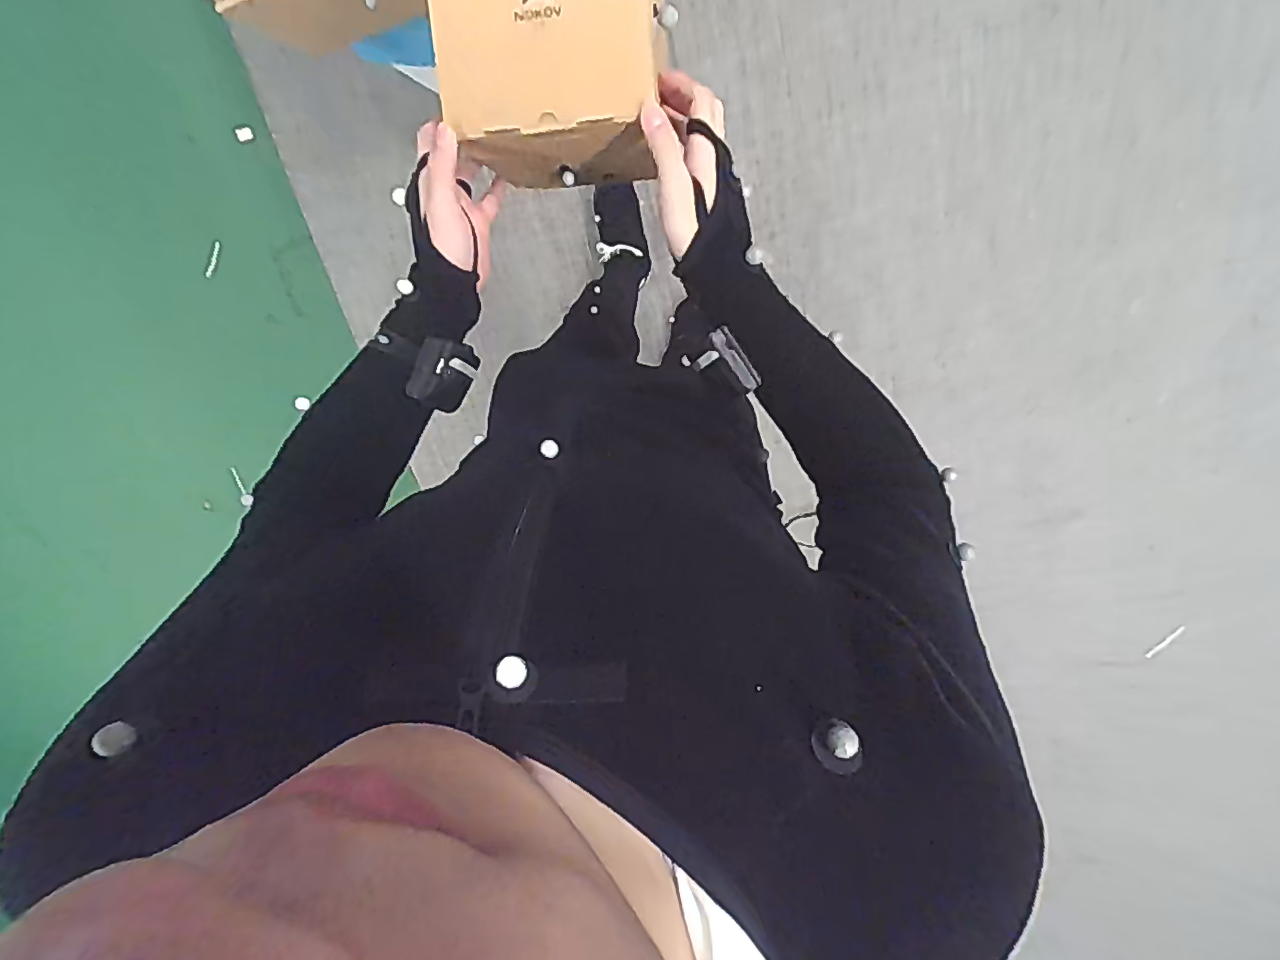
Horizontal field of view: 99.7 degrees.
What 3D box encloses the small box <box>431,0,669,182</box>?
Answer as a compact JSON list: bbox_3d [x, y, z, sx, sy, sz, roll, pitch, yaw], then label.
[{"bbox_3d":[-0.064,-0.377,0.463,0.168,0.176,0.179,-1,107,8],"label":"small box"}]
